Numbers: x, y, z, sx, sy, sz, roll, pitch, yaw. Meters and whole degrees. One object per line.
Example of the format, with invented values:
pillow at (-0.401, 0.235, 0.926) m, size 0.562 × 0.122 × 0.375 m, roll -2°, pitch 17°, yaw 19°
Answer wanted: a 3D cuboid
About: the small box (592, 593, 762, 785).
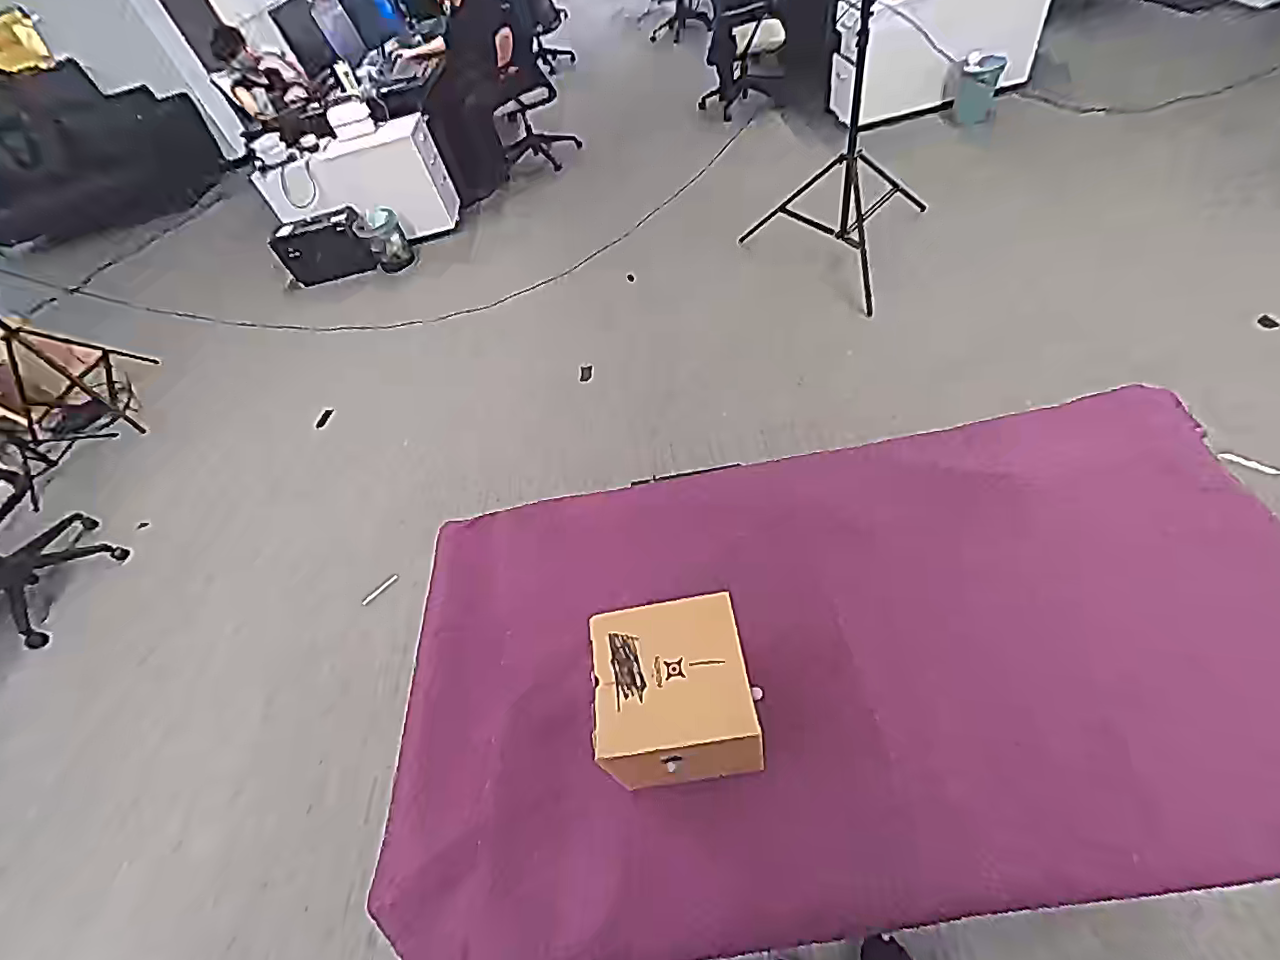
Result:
small box at (0.048, 0.265, 0.672) m, size 0.179 × 0.176 × 0.168 m, roll -11°, pitch 50°, yaw 5°
